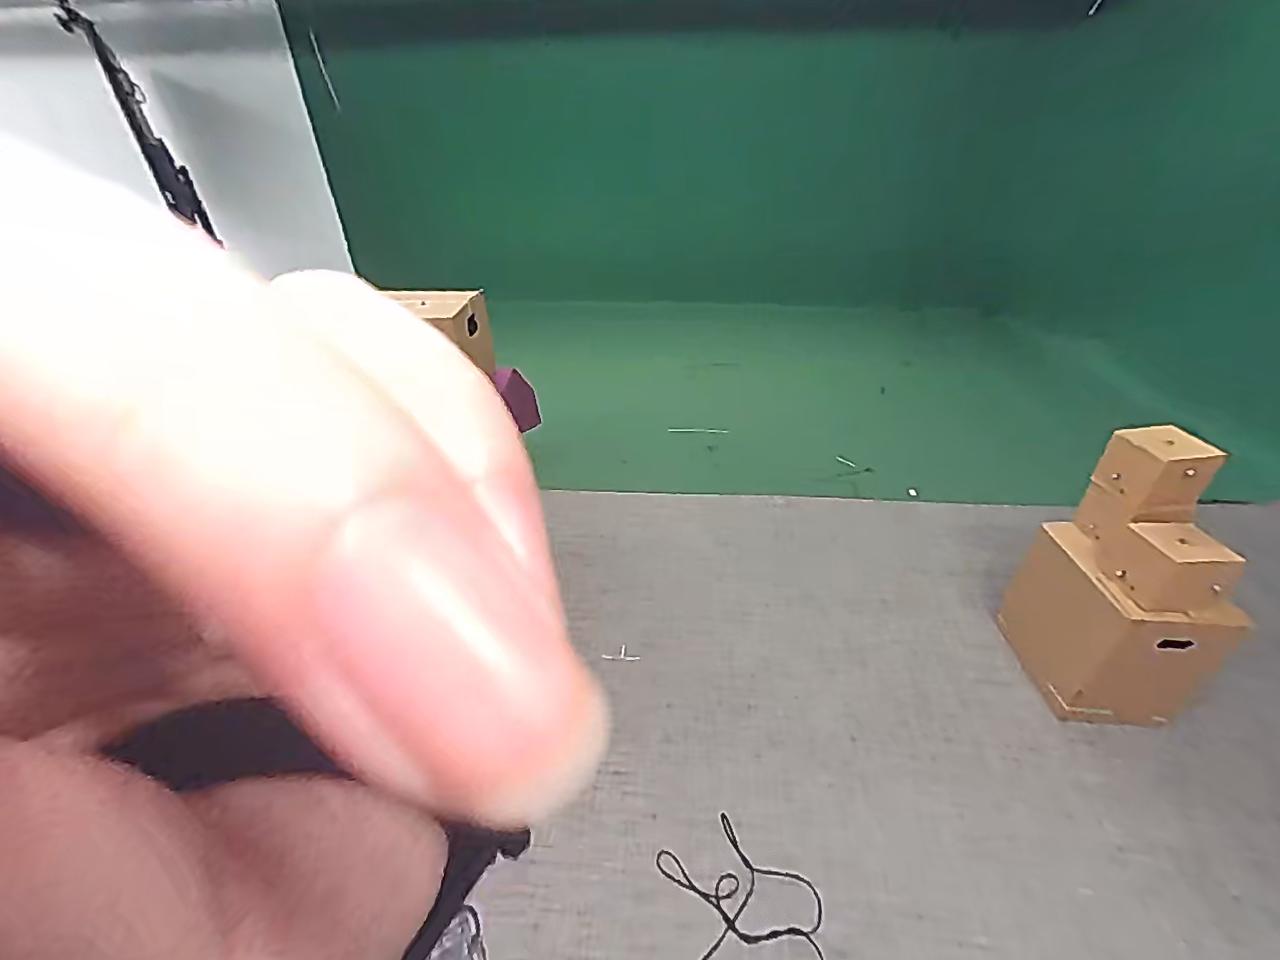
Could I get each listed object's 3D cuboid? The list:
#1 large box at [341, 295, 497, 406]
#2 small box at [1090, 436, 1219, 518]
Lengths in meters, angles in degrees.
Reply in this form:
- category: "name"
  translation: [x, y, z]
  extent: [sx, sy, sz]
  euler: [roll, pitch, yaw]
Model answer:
- category: "large box"
  translation: [-0.768, -0.471, 1.946]
  extent: [0.408, 0.320, 0.320]
  euler: [3, 34, 3]
- category: "small box"
  translation: [1.446, -0.007, 1.536]
  extent: [0.179, 0.176, 0.168]
  euler: [-5, 34, -3]
